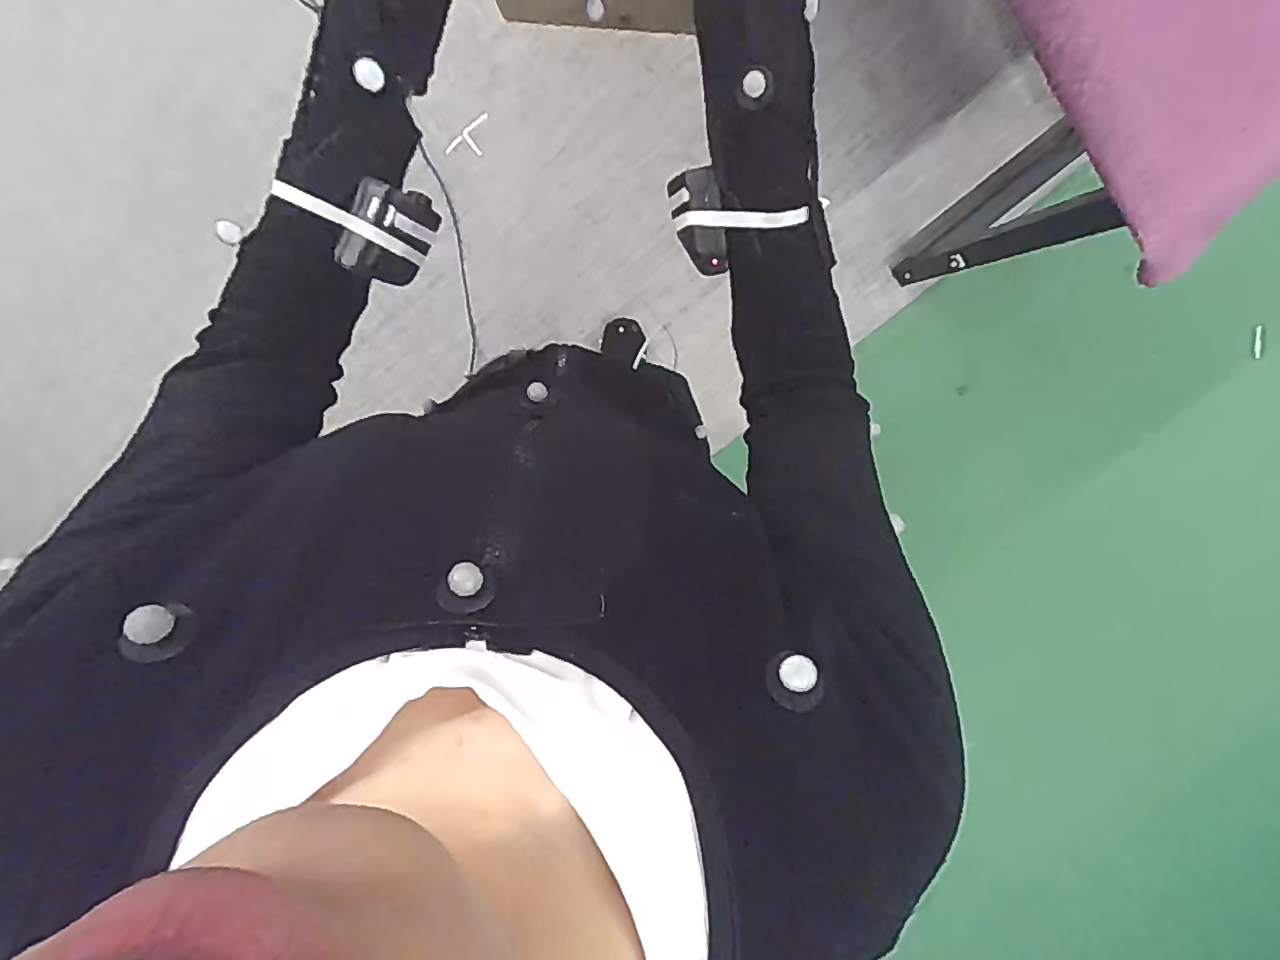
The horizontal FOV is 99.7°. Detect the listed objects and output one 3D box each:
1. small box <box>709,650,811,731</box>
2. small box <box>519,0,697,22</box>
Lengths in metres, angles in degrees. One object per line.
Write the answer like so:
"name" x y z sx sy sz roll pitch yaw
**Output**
"small box" 0.295 0.569 1.371 0.179 0.176 0.168 -38 101 8
"small box" -0.026 -0.452 0.353 0.168 0.176 0.179 4 108 -2
